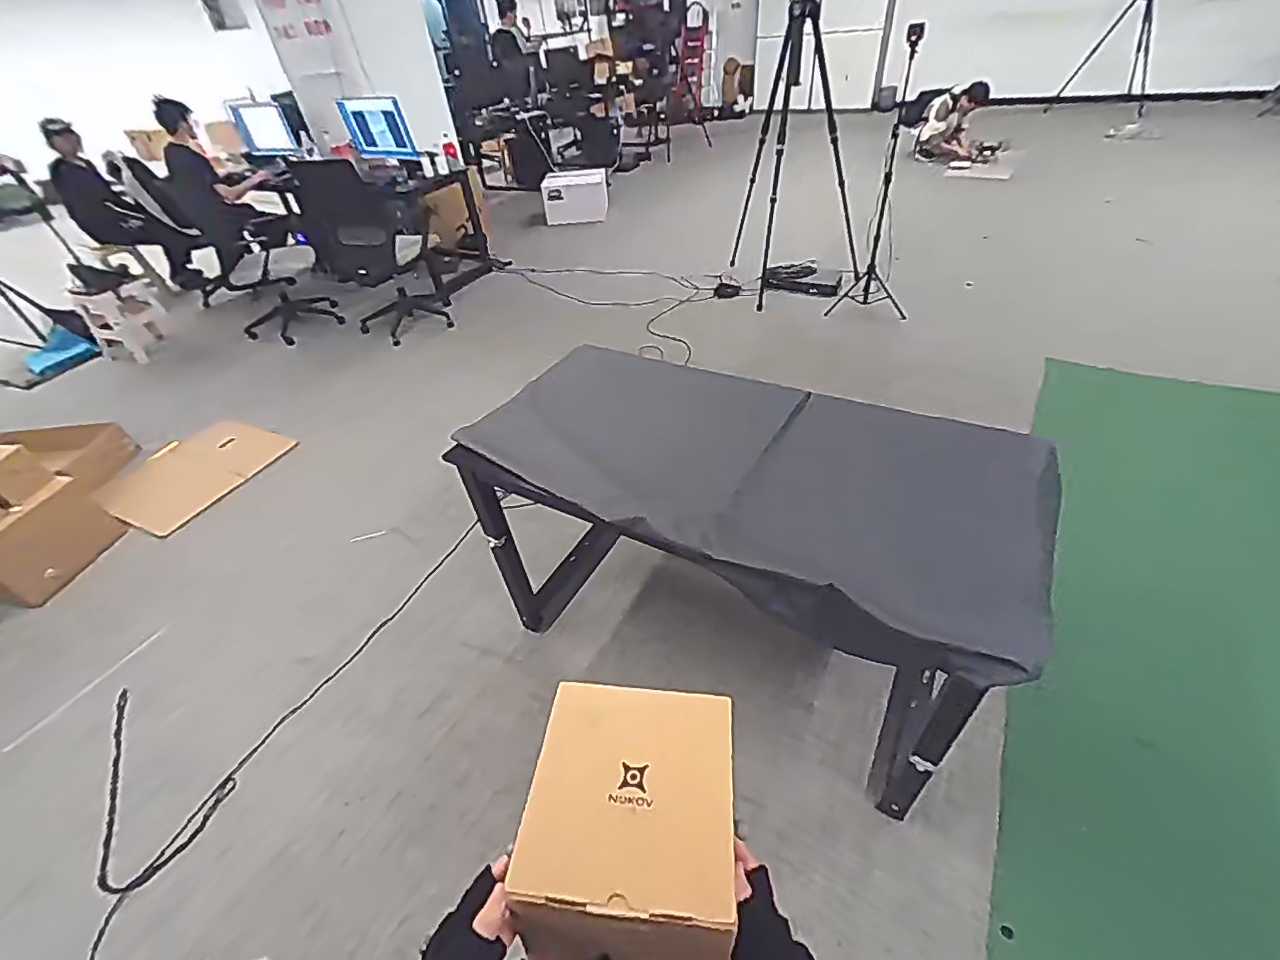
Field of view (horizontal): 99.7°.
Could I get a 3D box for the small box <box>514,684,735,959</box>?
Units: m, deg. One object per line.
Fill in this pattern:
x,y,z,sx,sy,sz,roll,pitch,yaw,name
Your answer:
-0.004,0.321,0.501,0.168,0.176,0.179,4,36,6,small box
